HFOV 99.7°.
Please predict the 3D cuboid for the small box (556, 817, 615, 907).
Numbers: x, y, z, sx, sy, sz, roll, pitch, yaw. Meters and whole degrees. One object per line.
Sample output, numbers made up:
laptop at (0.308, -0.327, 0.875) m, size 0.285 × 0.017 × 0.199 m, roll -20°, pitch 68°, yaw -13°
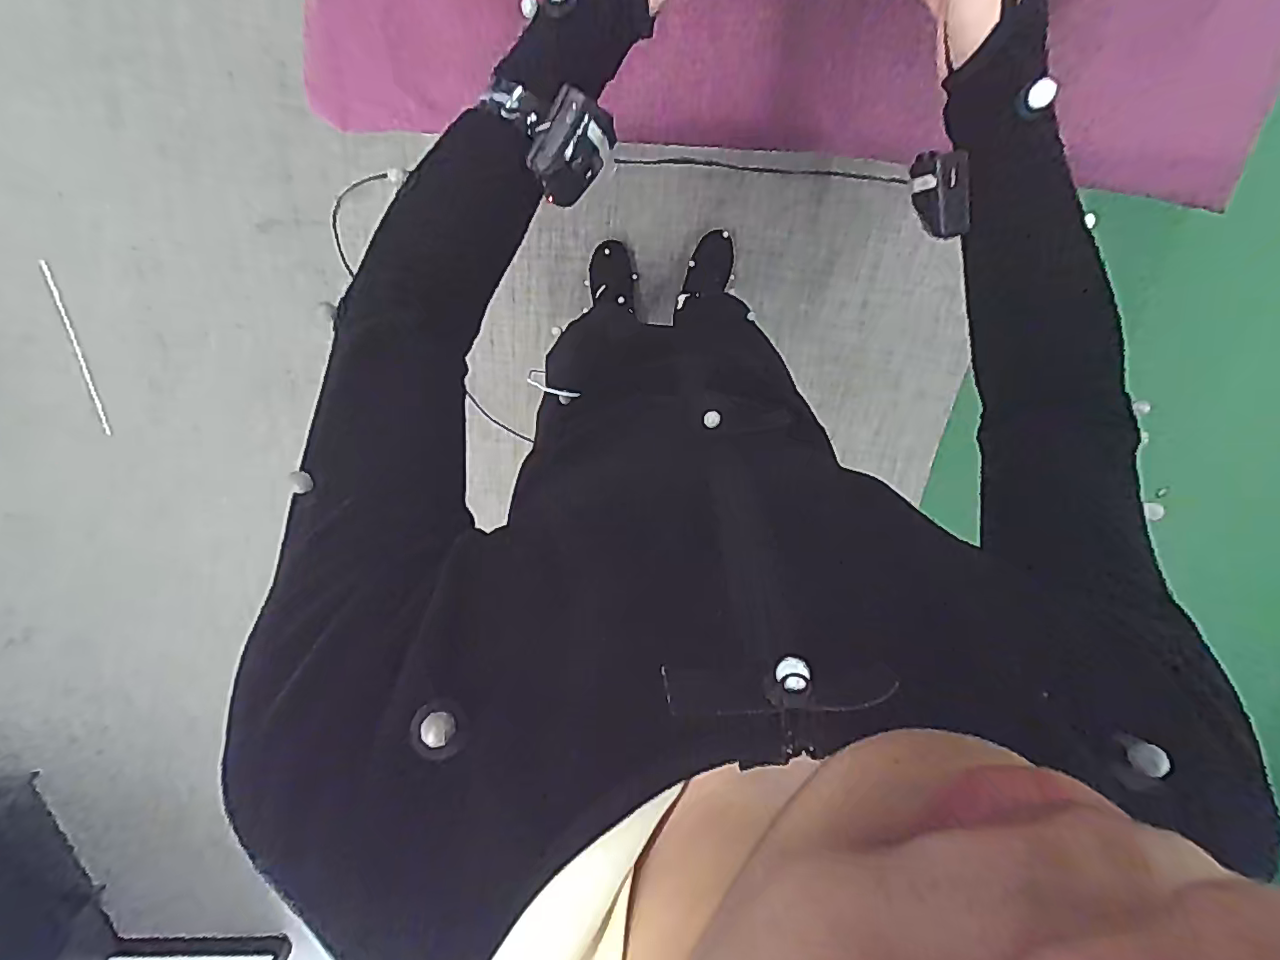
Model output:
small box at (-0.173, 1.227, 1.741) m, size 0.168 × 0.176 × 0.179 m, roll 6°, pitch 114°, yaw -4°
